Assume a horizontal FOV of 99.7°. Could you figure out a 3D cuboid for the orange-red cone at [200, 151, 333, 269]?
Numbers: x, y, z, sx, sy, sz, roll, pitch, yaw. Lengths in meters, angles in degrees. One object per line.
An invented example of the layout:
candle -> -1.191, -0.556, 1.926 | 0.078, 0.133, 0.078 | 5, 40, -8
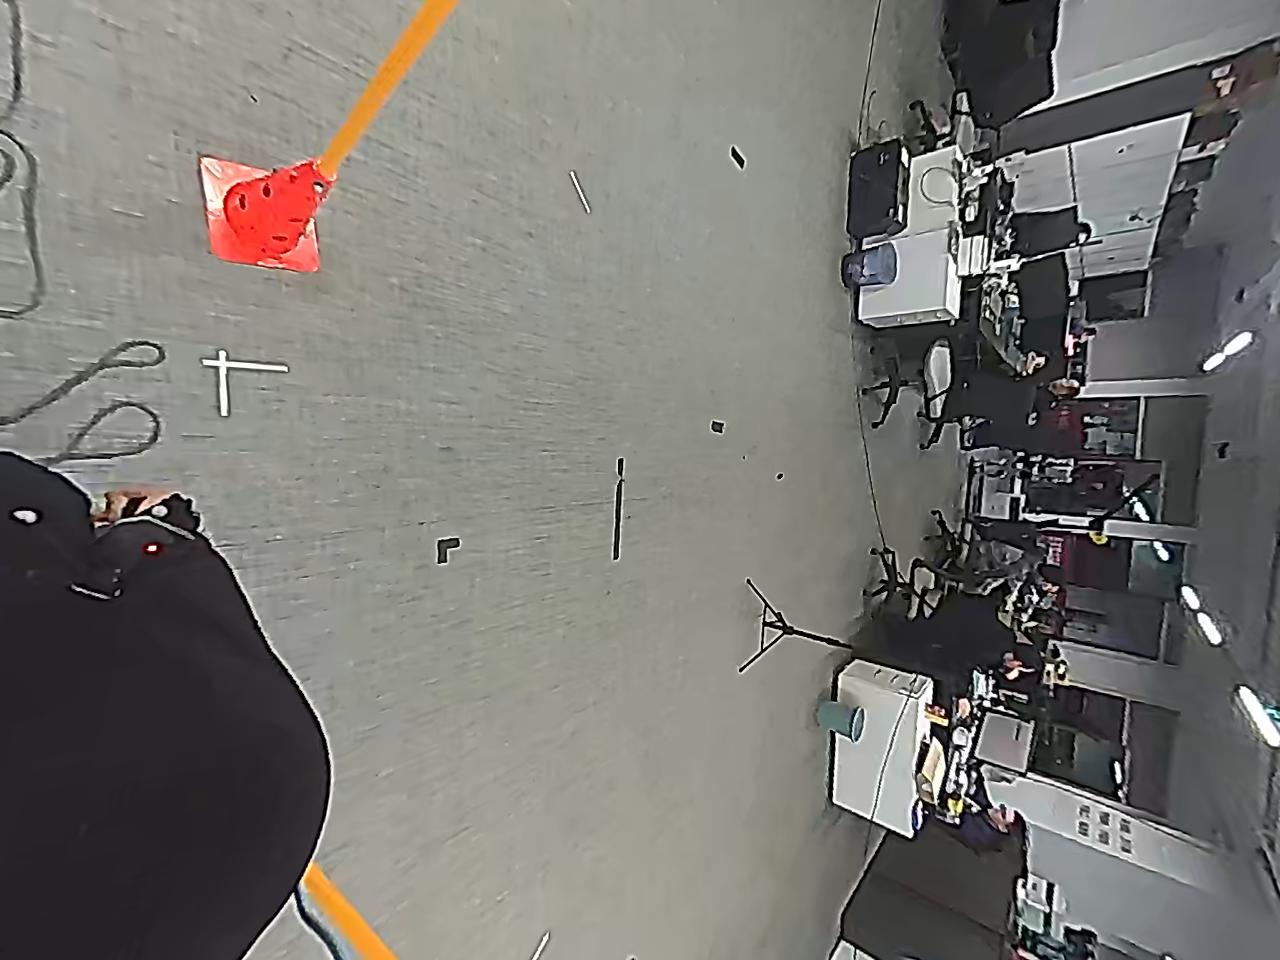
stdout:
orange-red cone -> -0.680, -0.554, 1.043 | 0.199, 0.360, 0.198 | -10, 101, -48
